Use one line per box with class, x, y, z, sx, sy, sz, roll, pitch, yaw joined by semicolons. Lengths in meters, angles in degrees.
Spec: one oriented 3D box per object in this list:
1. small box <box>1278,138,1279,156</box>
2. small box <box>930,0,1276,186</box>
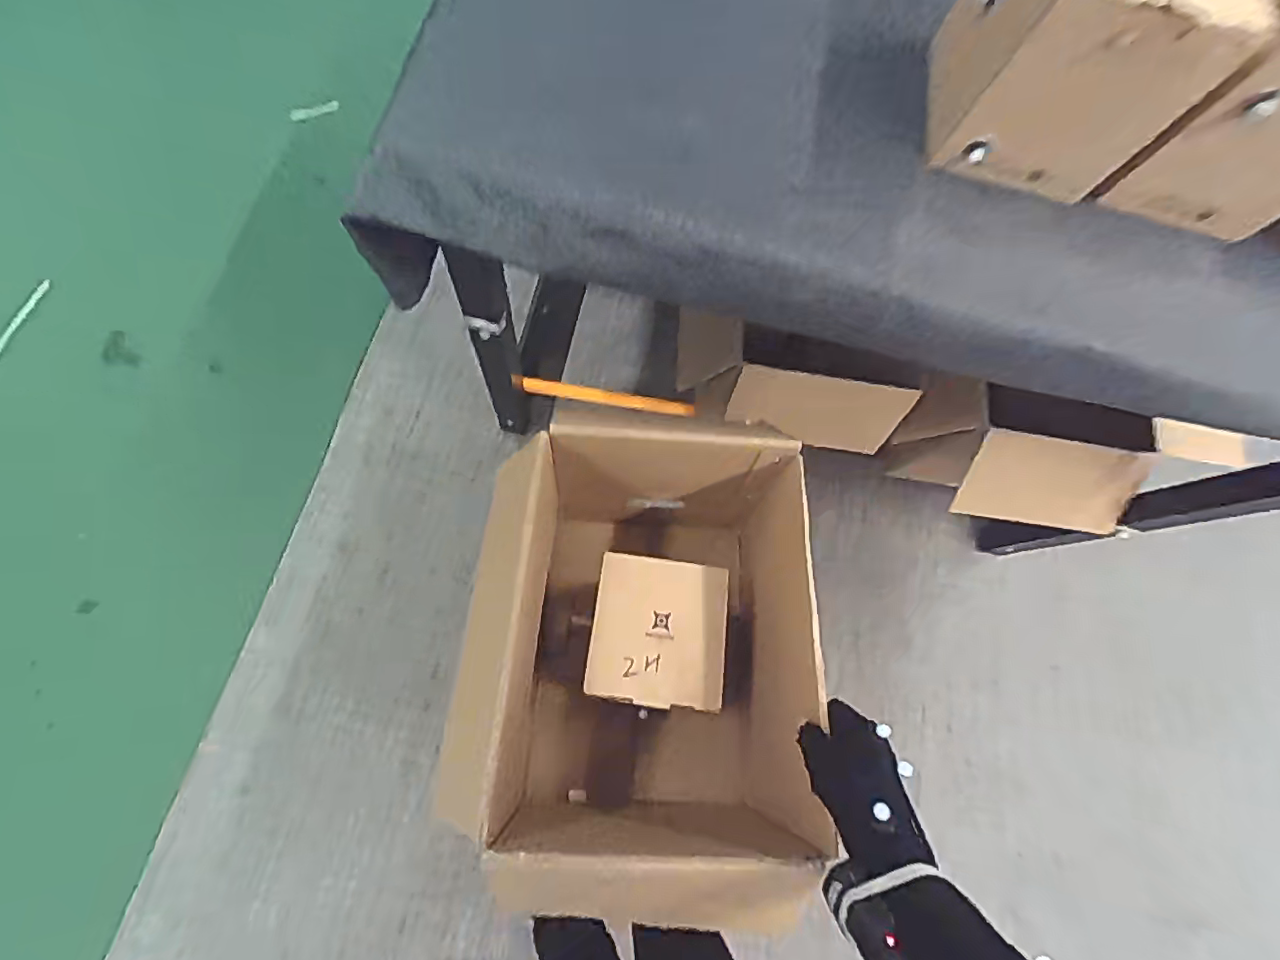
small box;0.793;-0.331;0.525;0.168;0.176;0.179;12;75;-4
small box;0.390;-0.408;0.490;0.168;0.176;0.179;11;74;-5
